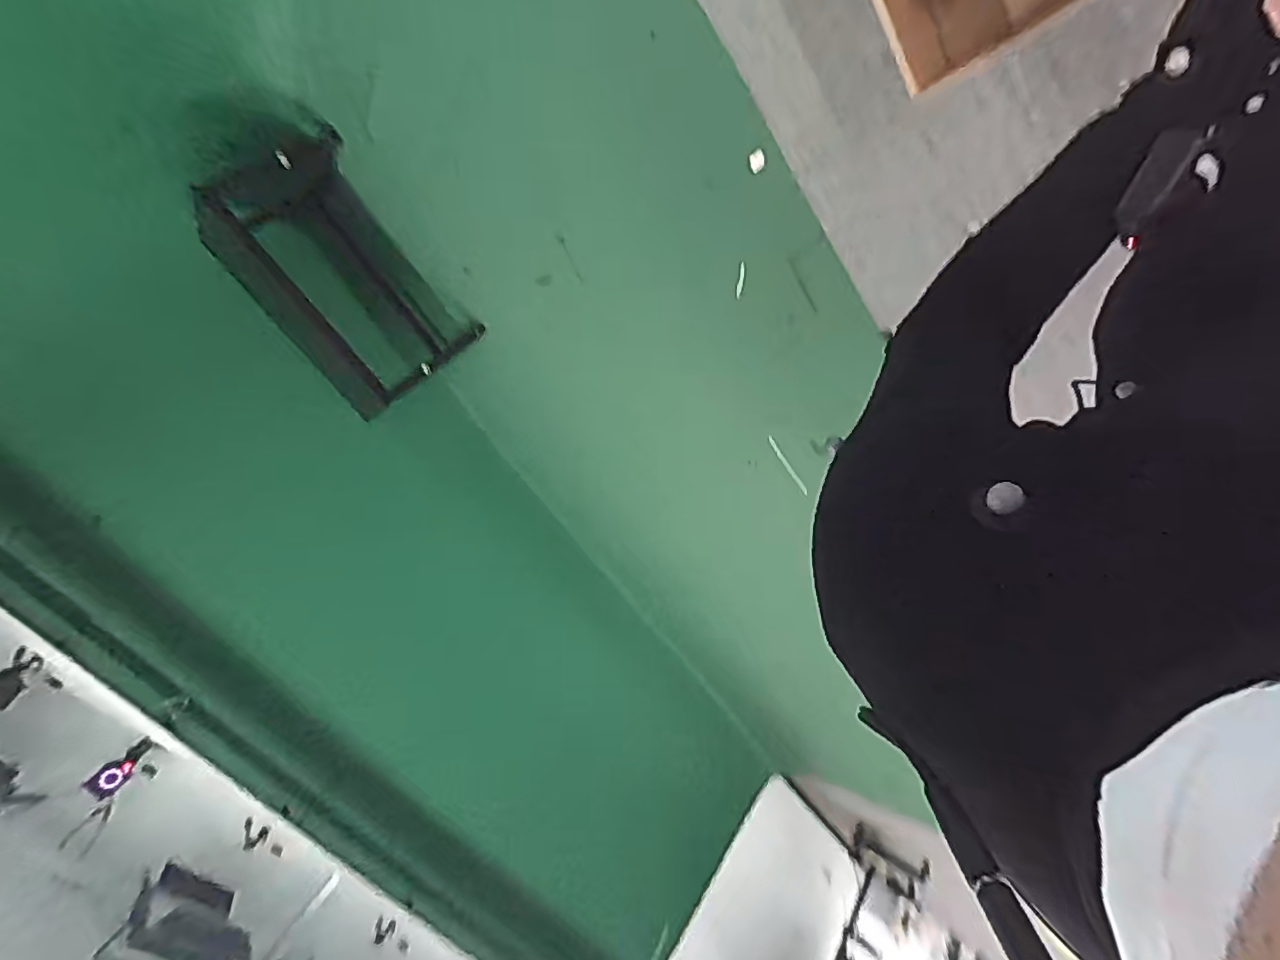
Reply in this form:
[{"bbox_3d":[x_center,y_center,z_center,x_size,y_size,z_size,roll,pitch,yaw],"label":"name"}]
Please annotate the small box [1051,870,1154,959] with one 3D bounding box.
[{"bbox_3d":[1.303,1.256,1.519,0.179,0.176,0.168,51,150,-14],"label":"small box"}]
